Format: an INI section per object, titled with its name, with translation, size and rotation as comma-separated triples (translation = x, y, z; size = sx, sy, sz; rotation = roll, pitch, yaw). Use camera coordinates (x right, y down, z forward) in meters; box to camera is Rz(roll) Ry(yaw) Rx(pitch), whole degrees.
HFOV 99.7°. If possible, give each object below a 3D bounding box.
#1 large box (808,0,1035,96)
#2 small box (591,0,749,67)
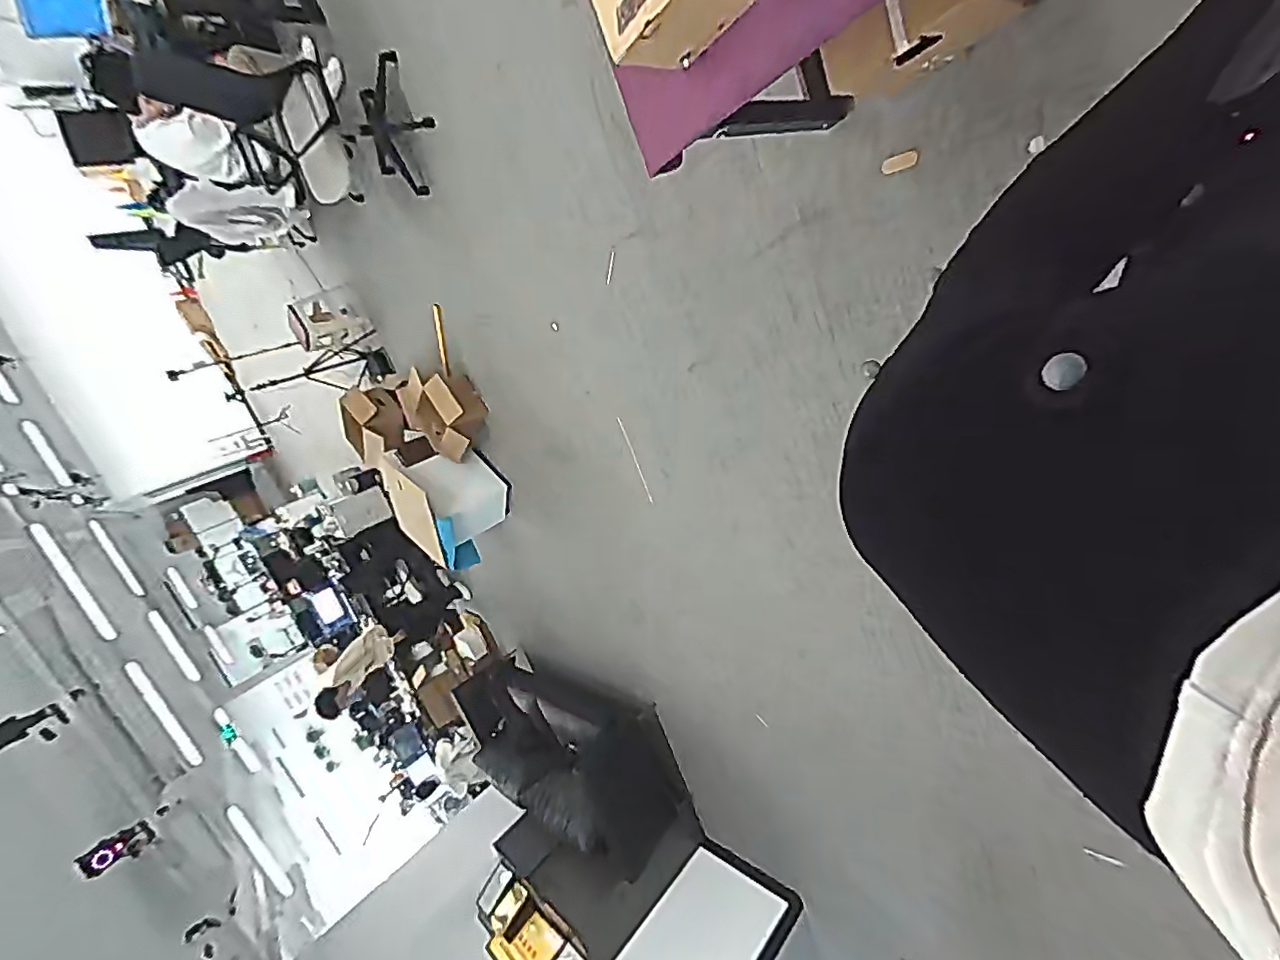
[large box]
translation = 0.550, -1.084, 1.101
size = 0.320, 0.320, 0.408
rotation = -5, 110, 50
[small box]
translation = 0.038, -0.757, 0.806
size = 0.168, 0.176, 0.179
rotation = -6, 108, 51
